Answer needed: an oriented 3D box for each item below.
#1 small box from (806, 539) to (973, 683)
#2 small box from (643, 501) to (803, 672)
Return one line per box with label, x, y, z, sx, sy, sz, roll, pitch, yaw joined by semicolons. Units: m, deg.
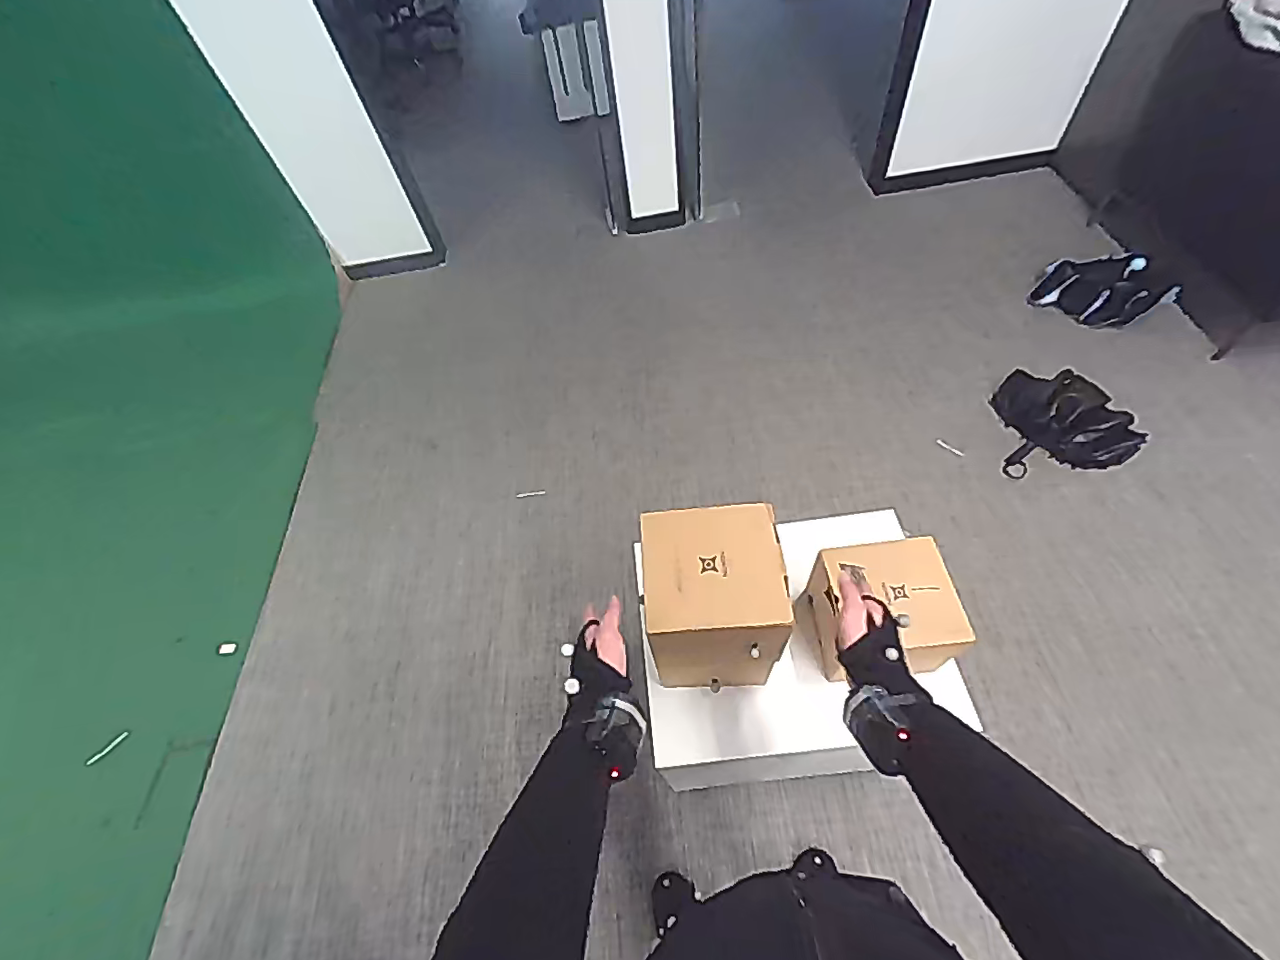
small box;0.372;0.211;0.851;0.179;0.176;0.168;-6;56;0
small box;0.099;0.146;0.719;0.179;0.176;0.168;-5;54;2
